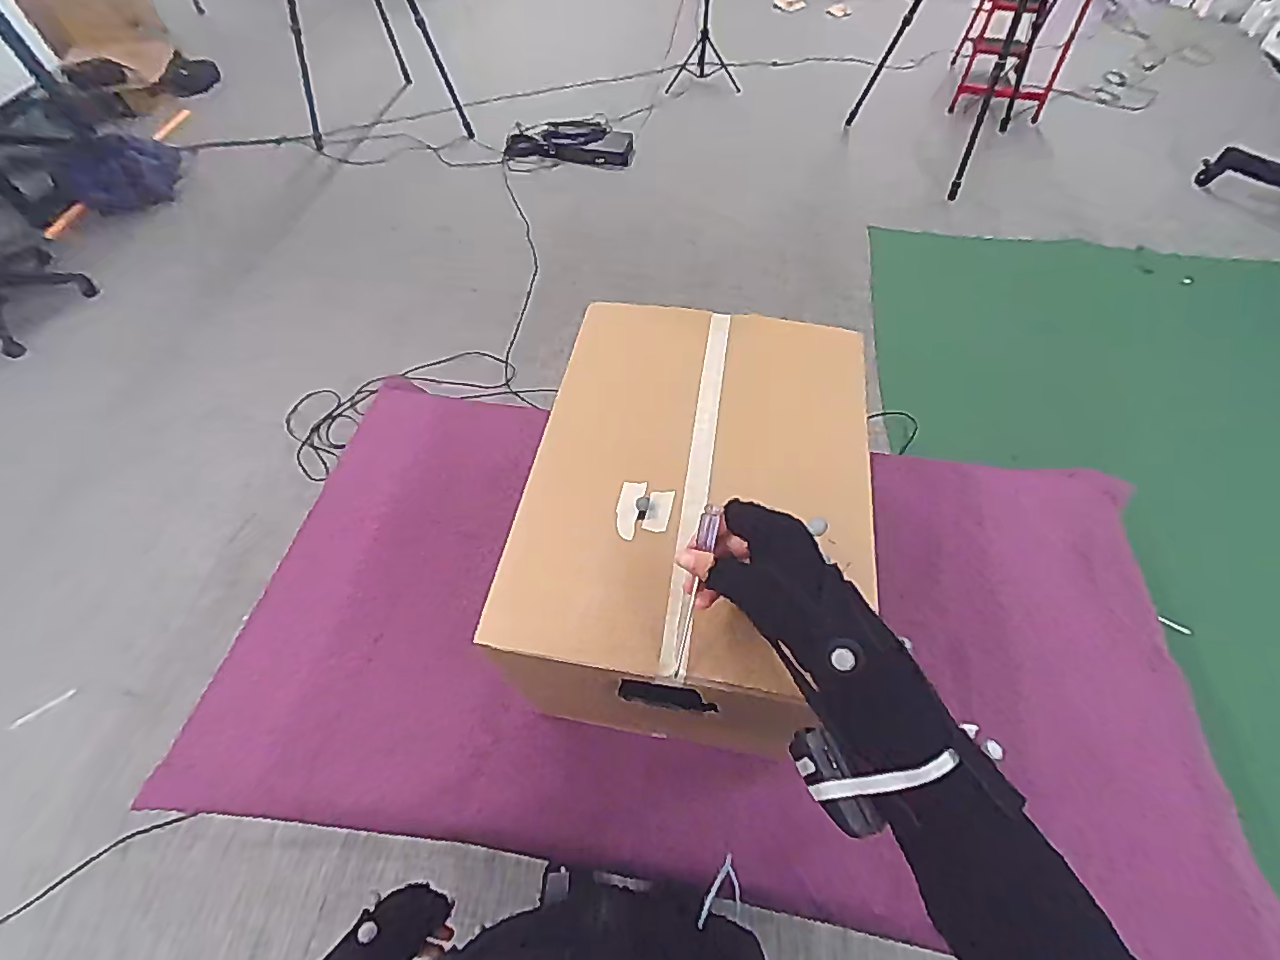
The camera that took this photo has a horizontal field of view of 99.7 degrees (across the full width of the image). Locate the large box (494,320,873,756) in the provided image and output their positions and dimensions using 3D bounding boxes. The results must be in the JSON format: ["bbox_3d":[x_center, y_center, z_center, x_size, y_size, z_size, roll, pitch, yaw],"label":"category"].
[{"bbox_3d":[0.059,0.075,0.655,0.320,0.320,0.408,9,58,6],"label":"large box"}]
